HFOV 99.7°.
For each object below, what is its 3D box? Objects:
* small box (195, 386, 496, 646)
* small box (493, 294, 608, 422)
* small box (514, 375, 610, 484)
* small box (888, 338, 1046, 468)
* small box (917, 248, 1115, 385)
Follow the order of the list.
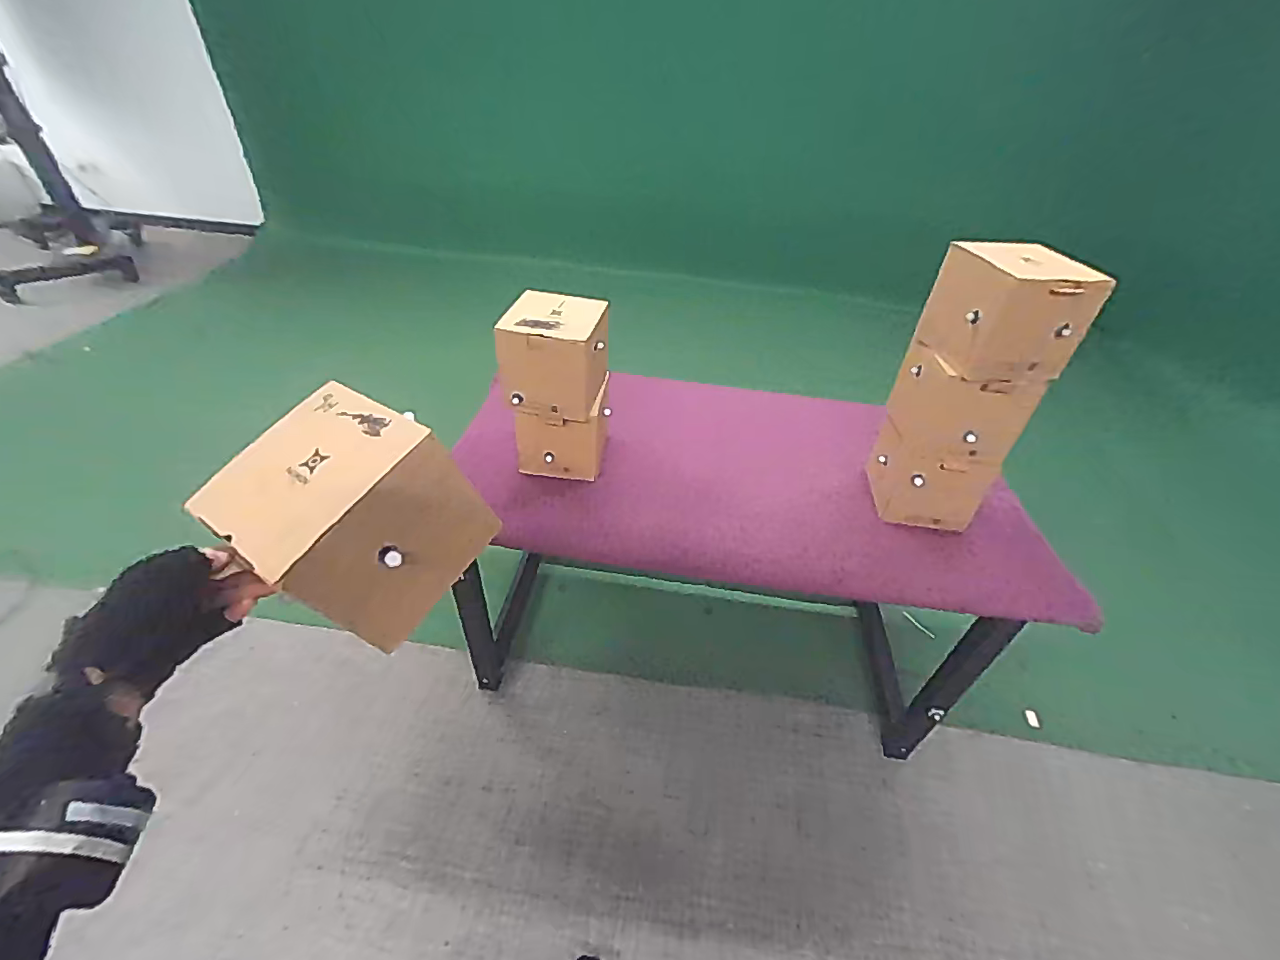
[{"bbox_3d":[-0.281,0.041,0.554,0.168,0.176,0.179,25,65,27],"label":"small box"},{"bbox_3d":[-0.161,-0.231,1.030,0.168,0.176,0.179,10,42,5],"label":"small box"},{"bbox_3d":[-0.161,-0.118,1.150,0.168,0.176,0.179,7,42,2],"label":"small box"},{"bbox_3d":[0.583,-0.145,0.997,0.168,0.176,0.179,5,41,2],"label":"small box"},{"bbox_3d":[0.599,-0.268,0.891,0.168,0.176,0.179,-1,40,-7],"label":"small box"}]
